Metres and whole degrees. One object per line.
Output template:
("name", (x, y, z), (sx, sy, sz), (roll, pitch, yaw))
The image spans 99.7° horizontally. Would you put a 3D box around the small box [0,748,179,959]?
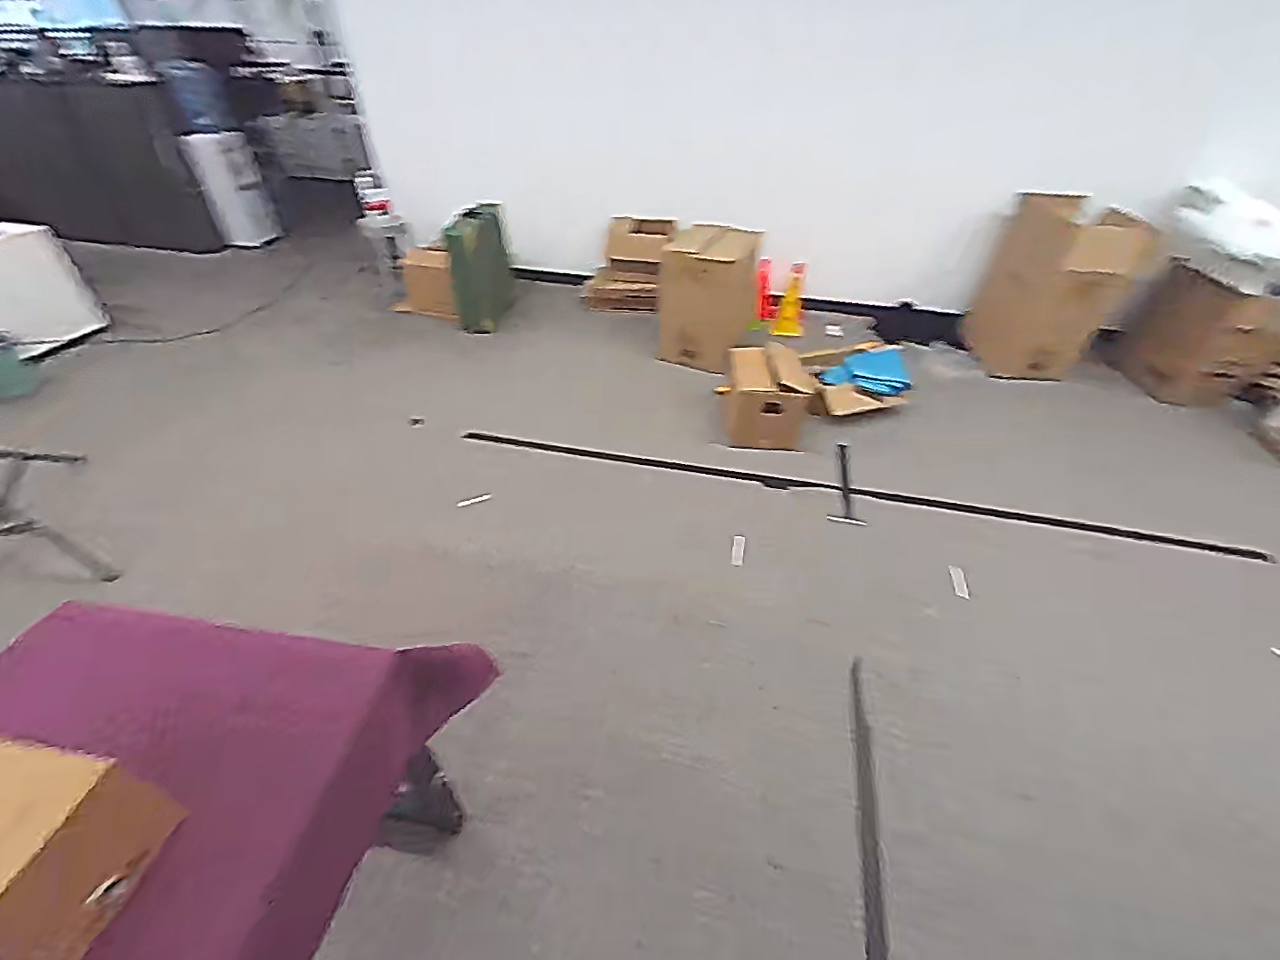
("small box", (-0.691, 0.426, 0.604), (0.179, 0.176, 0.168), (6, 41, 4))
